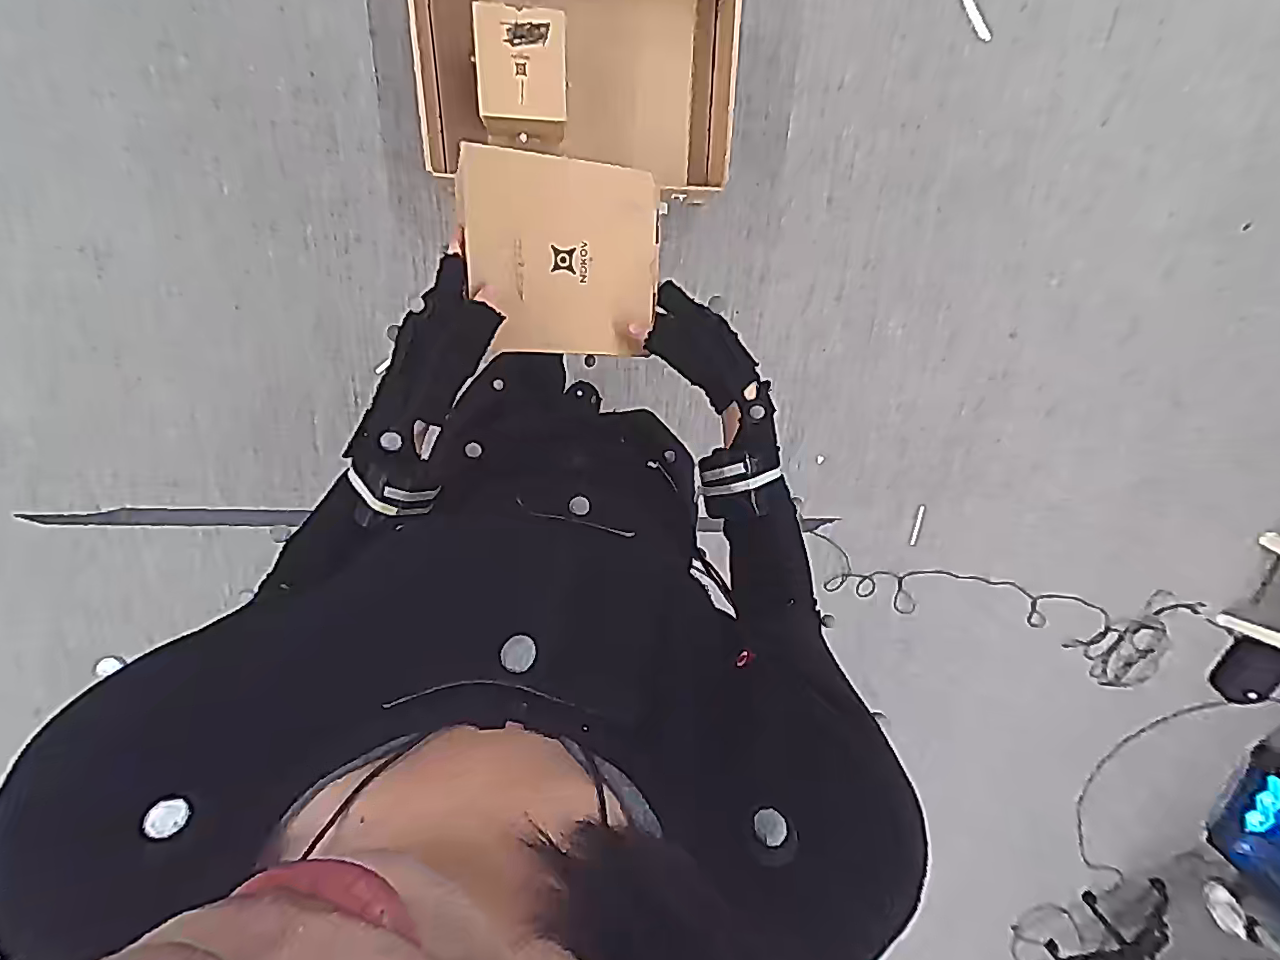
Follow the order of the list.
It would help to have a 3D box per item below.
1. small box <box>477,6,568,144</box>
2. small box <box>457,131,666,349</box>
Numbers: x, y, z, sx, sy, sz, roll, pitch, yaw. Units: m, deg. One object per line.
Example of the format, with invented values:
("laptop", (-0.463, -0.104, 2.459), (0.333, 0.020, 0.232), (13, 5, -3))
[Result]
("small box", (-0.229, -0.795, 1.080), (0.168, 0.176, 0.179), (-1, 112, -8))
("small box", (-0.089, -0.224, 0.551), (0.179, 0.176, 0.168), (-3, 105, -20))
